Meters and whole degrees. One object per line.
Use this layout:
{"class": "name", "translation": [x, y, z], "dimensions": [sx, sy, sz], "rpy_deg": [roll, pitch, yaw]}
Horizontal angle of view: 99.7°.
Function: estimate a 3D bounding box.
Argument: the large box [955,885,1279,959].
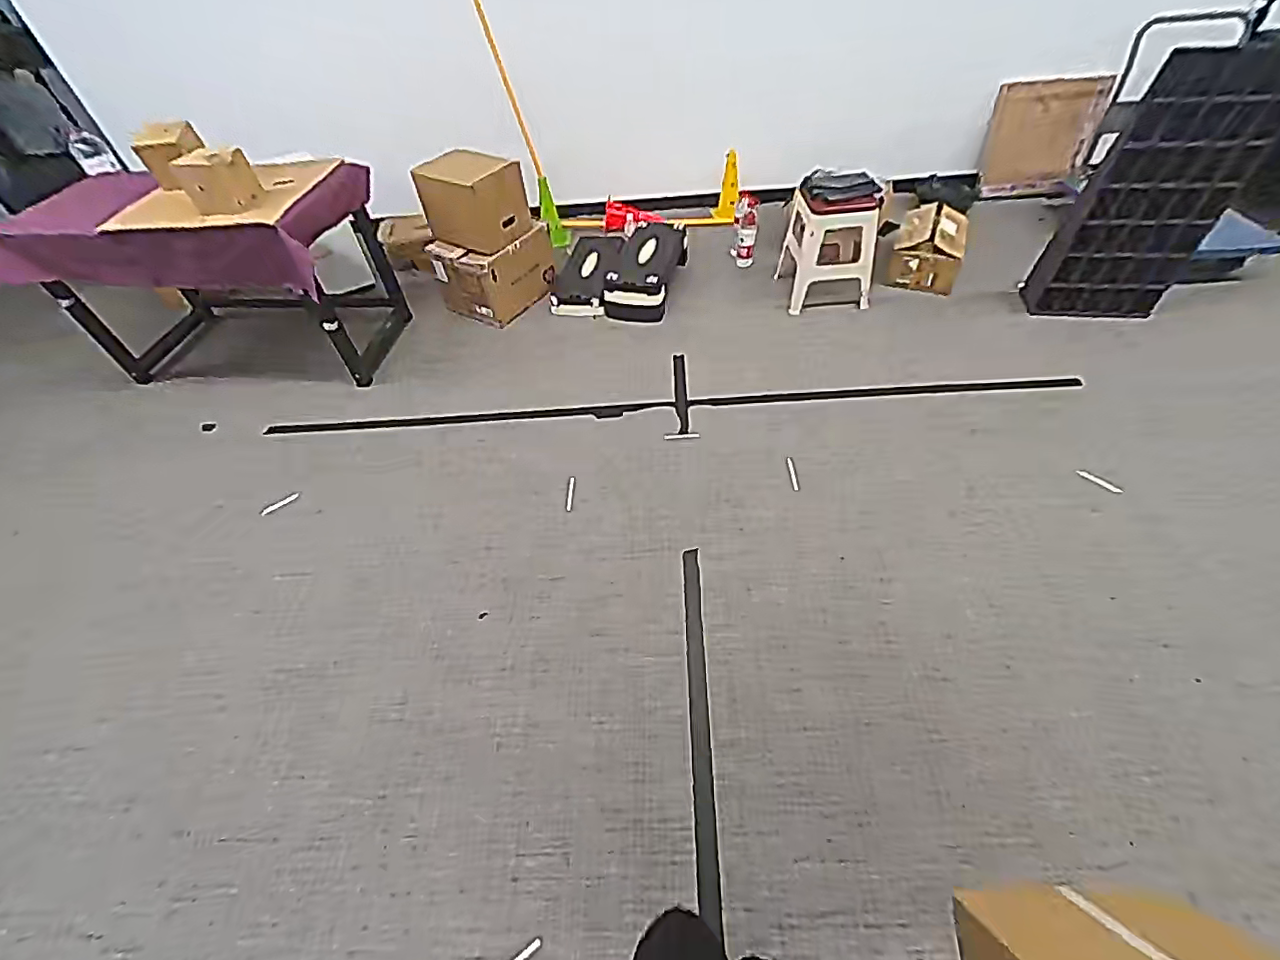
{"class": "large box", "translation": [0.604, 0.704, 0.568], "dimensions": [0.320, 0.408, 0.320], "rpy_deg": [-2, 77, 3]}
